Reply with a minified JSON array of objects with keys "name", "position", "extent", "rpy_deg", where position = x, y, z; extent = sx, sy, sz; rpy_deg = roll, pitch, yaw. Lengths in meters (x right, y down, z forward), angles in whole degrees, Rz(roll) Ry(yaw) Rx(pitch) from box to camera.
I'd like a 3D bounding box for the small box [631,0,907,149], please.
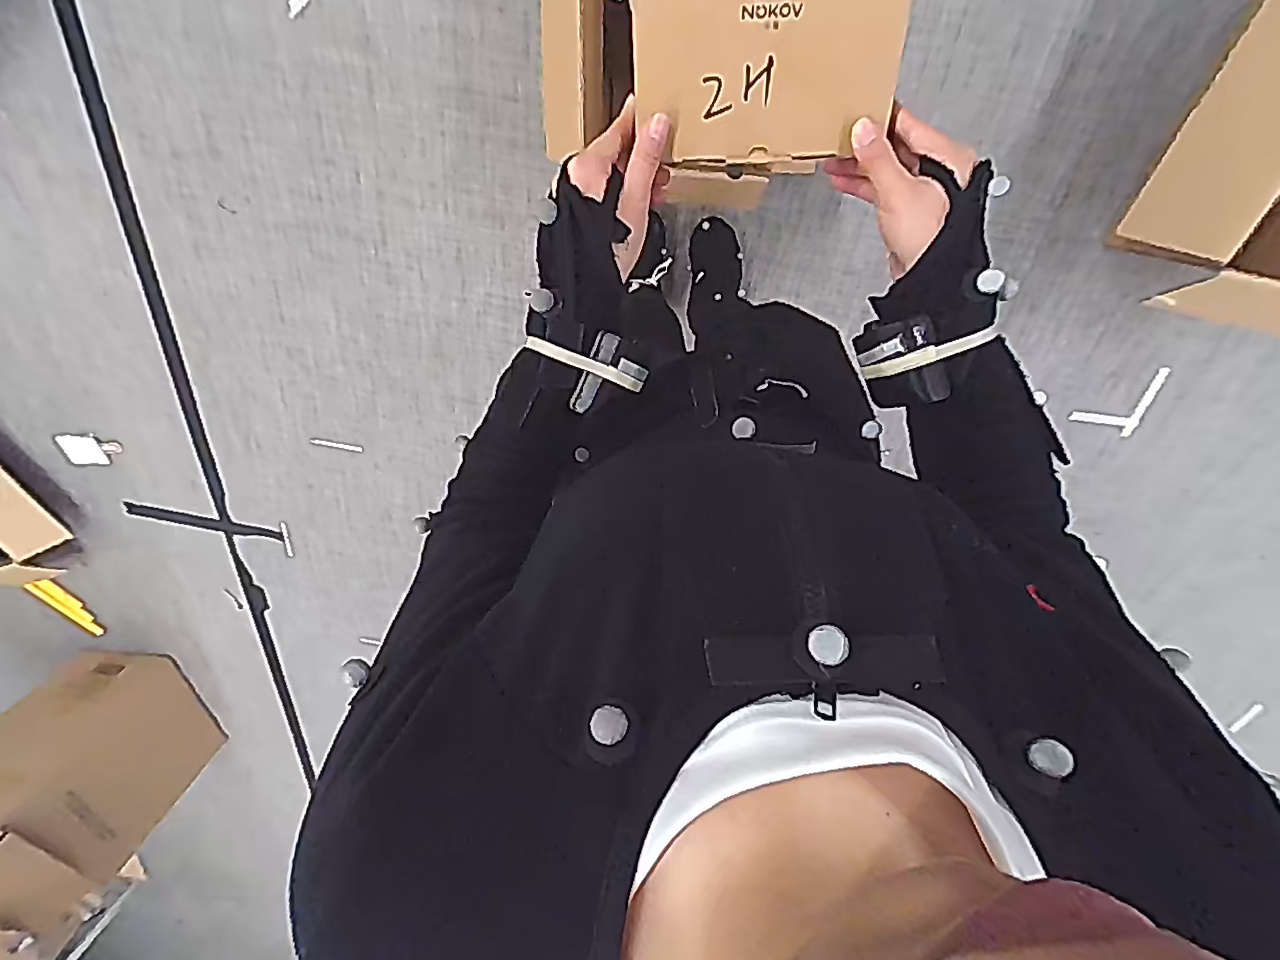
[{"name":"small box","position":[0.077,-0.338,0.381],"extent":[0.168,0.176,0.179],"rpy_deg":[-1,123,2]}]
